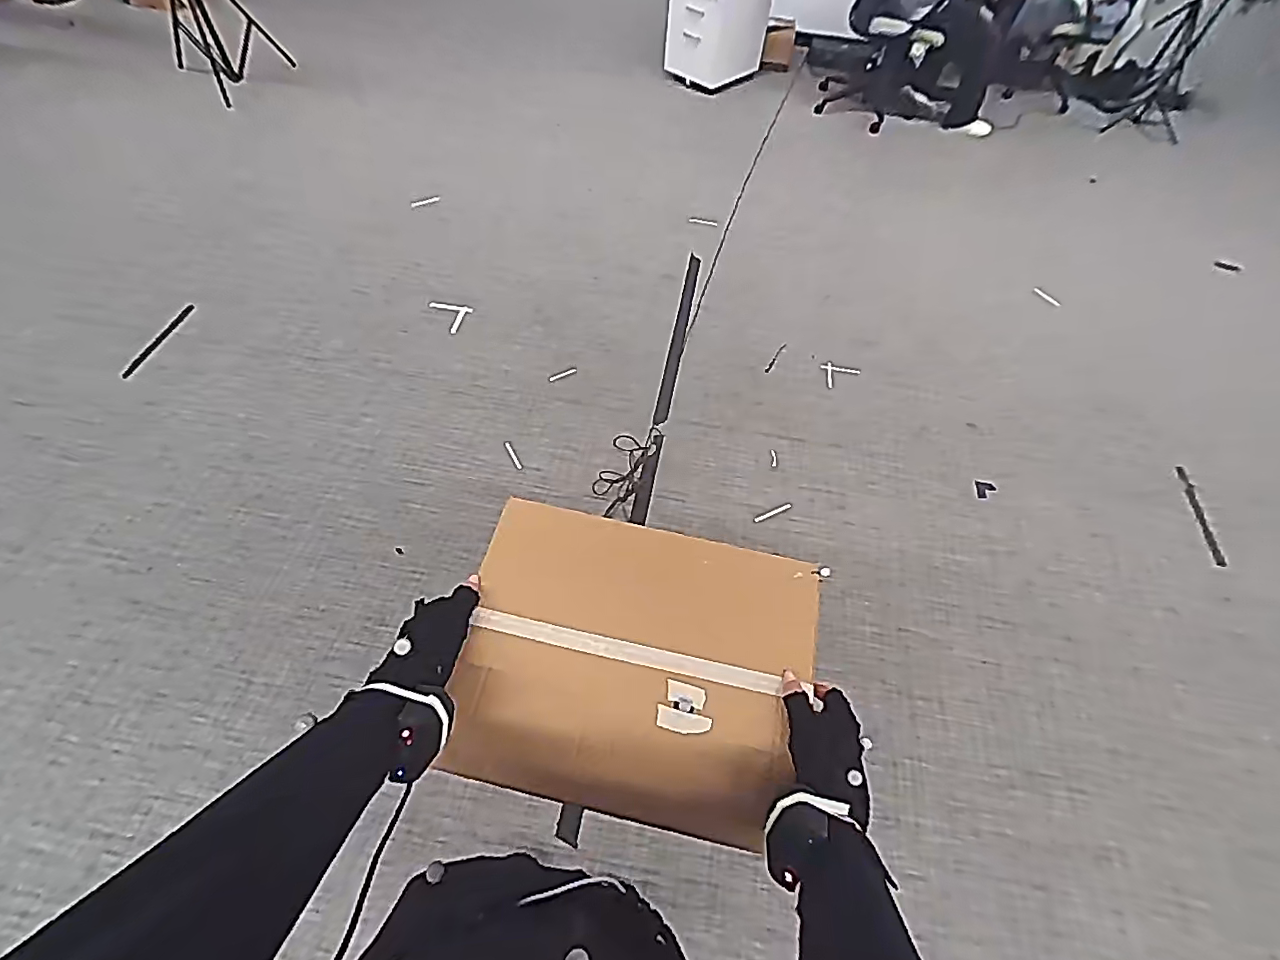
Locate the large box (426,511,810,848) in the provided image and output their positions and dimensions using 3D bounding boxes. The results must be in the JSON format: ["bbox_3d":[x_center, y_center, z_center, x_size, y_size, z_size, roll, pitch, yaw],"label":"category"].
[{"bbox_3d":[-0.014,0.280,0.760,0.408,0.320,0.320,12,61,3],"label":"large box"}]
